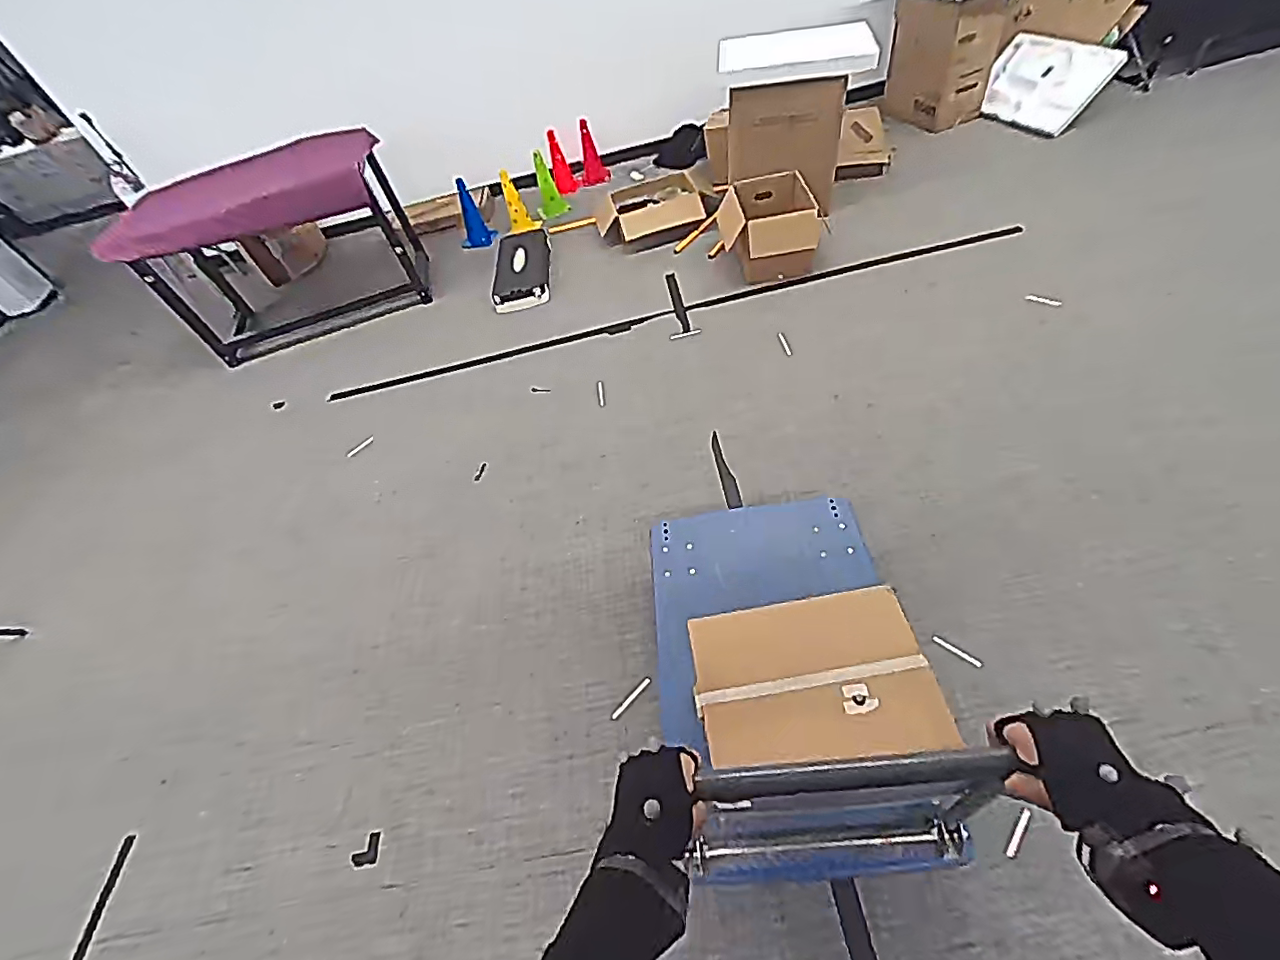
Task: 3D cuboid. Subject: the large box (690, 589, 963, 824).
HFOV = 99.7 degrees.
[{"bbox_3d":[0.333,0.461,1.084,0.408,0.320,0.320,-11,50,3],"label":"large box"}]
